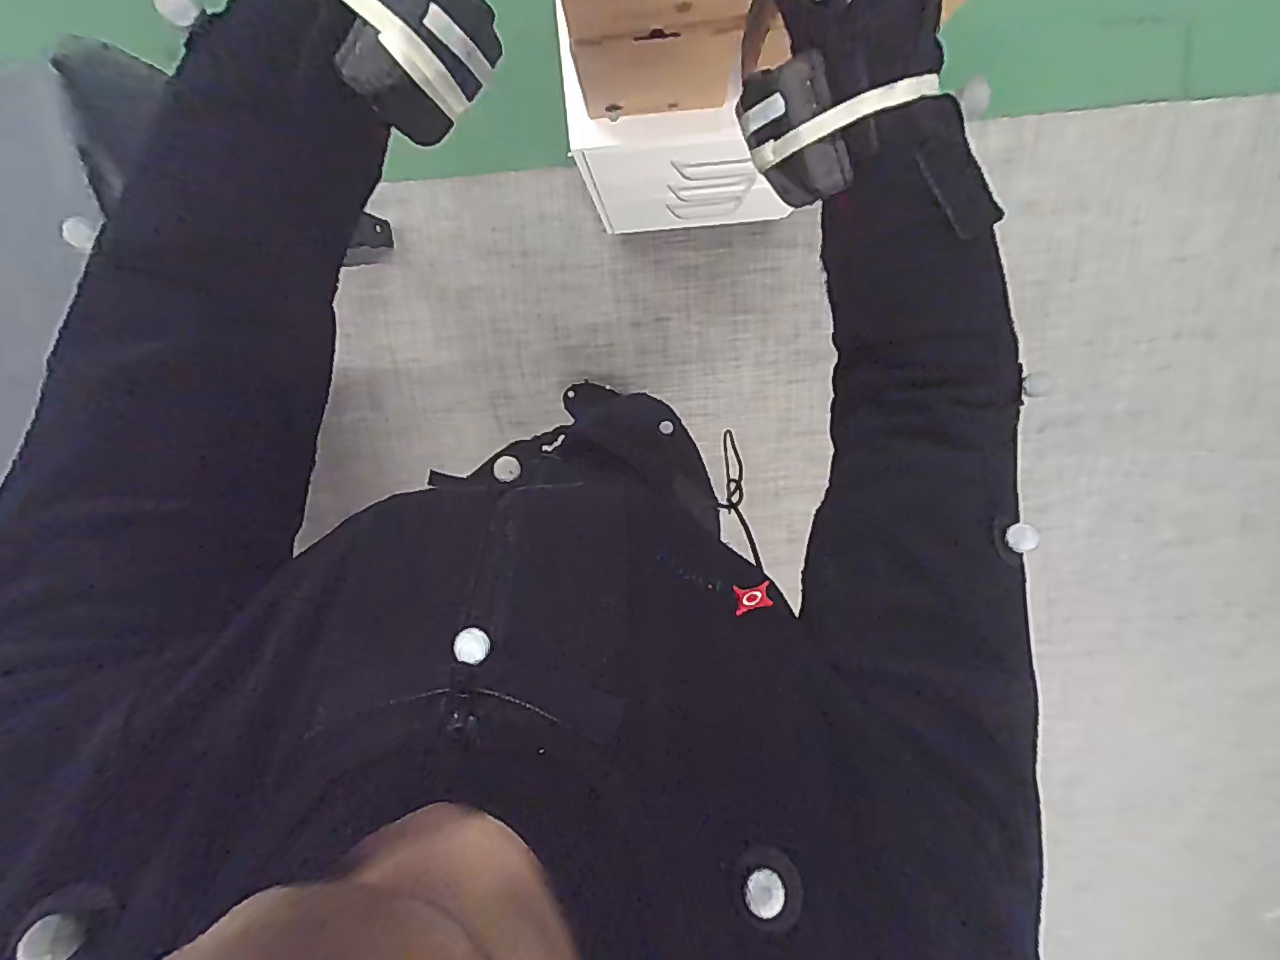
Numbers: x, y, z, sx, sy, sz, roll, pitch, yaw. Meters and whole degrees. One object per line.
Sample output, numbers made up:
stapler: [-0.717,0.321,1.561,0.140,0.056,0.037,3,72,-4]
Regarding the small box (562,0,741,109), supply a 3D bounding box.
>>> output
small box: [0.008,-0.508,0.553,0.168,0.176,0.179,-4,103,1]
